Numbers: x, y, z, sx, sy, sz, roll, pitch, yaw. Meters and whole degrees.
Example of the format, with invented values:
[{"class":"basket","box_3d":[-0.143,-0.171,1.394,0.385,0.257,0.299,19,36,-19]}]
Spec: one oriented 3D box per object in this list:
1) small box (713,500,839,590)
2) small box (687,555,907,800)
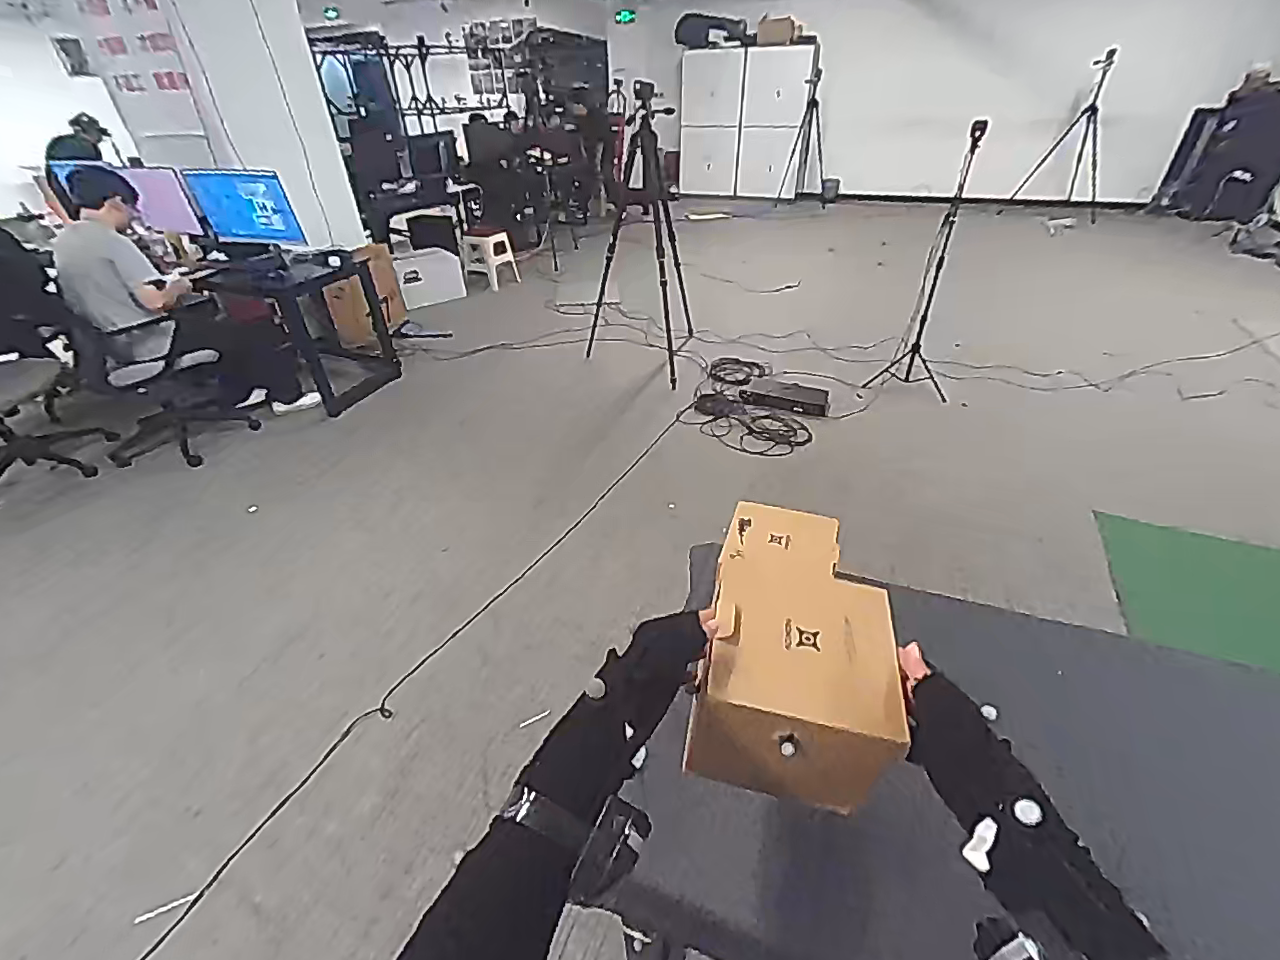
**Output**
[{"class":"small box","box_3d":[0.230,0.165,0.936,0.179,0.176,0.168,12,39,16]},{"class":"small box","box_3d":[0.151,0.208,0.571,0.179,0.176,0.168,11,42,6]}]
